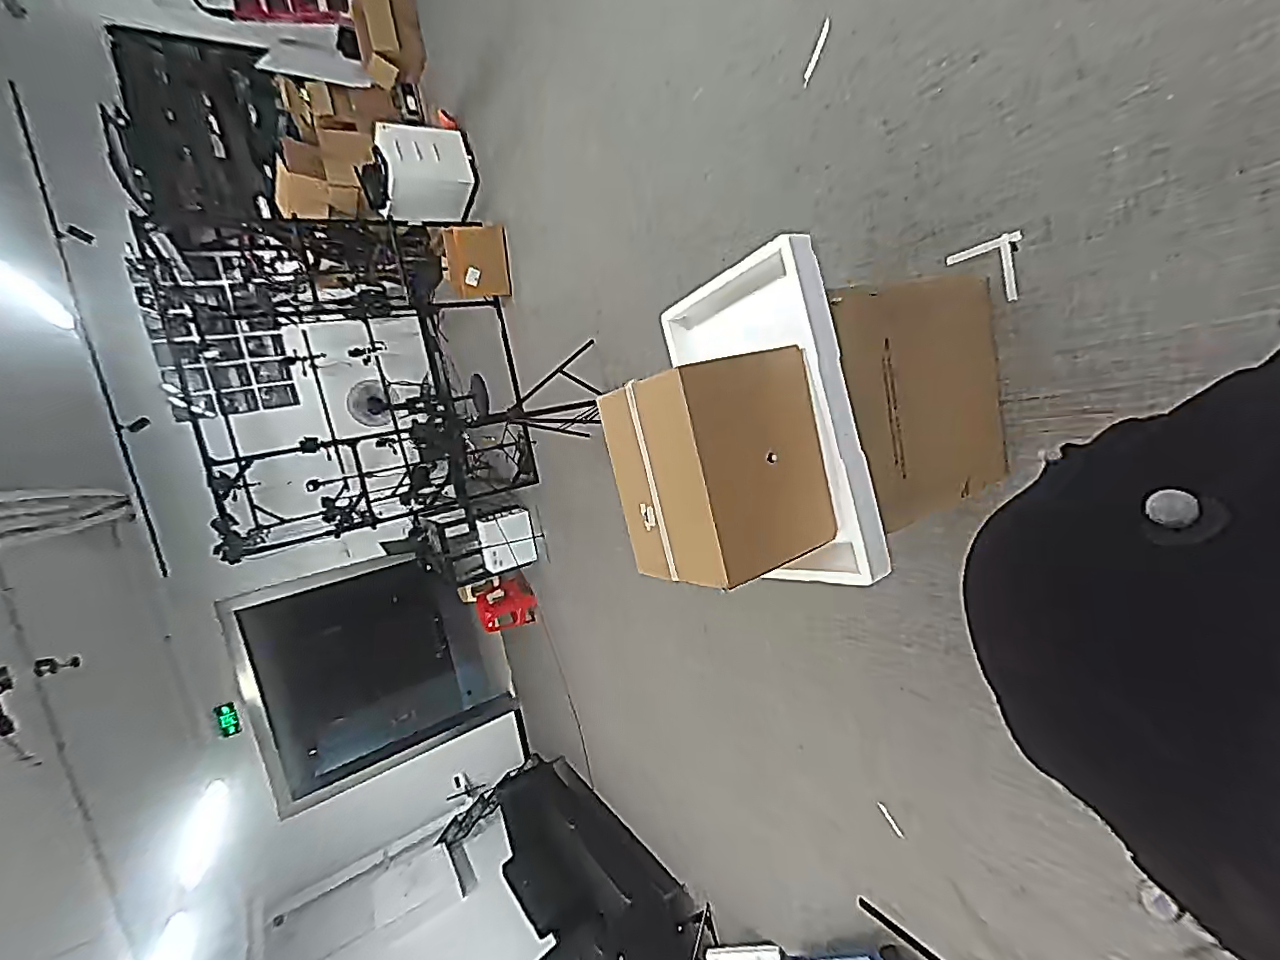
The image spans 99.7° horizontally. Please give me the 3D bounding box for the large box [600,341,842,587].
[{"bbox_3d":[0.164,-0.035,1.127,0.320,0.320,0.408,-5,101,60],"label":"large box"}]
